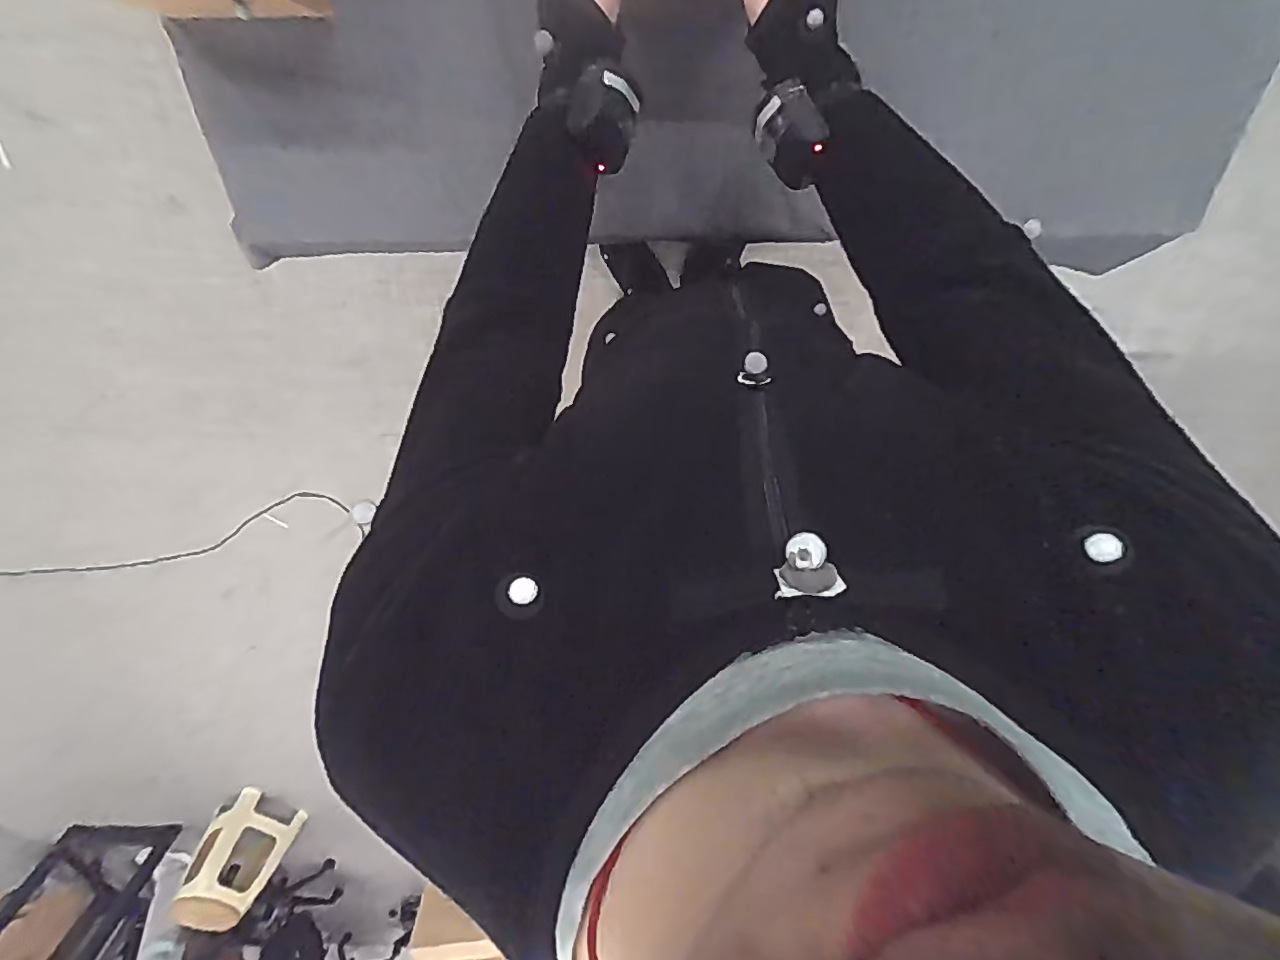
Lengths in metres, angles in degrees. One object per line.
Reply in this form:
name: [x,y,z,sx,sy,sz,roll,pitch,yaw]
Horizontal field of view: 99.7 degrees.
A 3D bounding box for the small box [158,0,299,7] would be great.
small box: [-0.407,-0.516,0.443,0.179,0.176,0.168,0,120,0]
